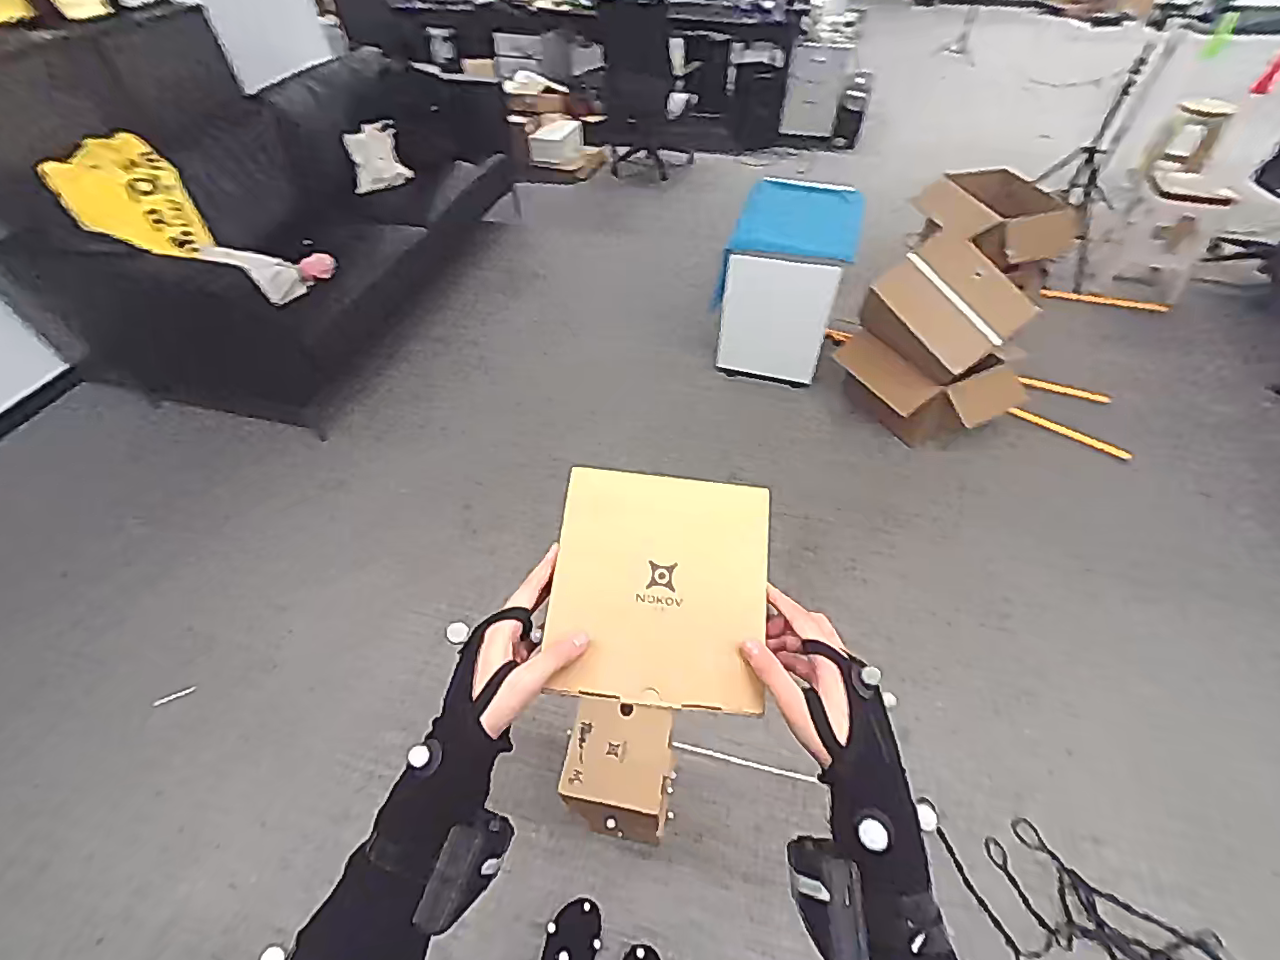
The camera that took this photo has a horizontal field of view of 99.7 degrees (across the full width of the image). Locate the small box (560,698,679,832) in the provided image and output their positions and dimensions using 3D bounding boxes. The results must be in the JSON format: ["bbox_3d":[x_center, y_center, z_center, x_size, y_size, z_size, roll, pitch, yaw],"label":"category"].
[{"bbox_3d":[-0.031,0.525,0.990,0.179,0.176,0.168,8,50,9],"label":"small box"}]

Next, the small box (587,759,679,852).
[{"bbox_3d":[-0.012,0.732,1.244,0.179,0.176,0.168,10,50,10],"label":"small box"}]
